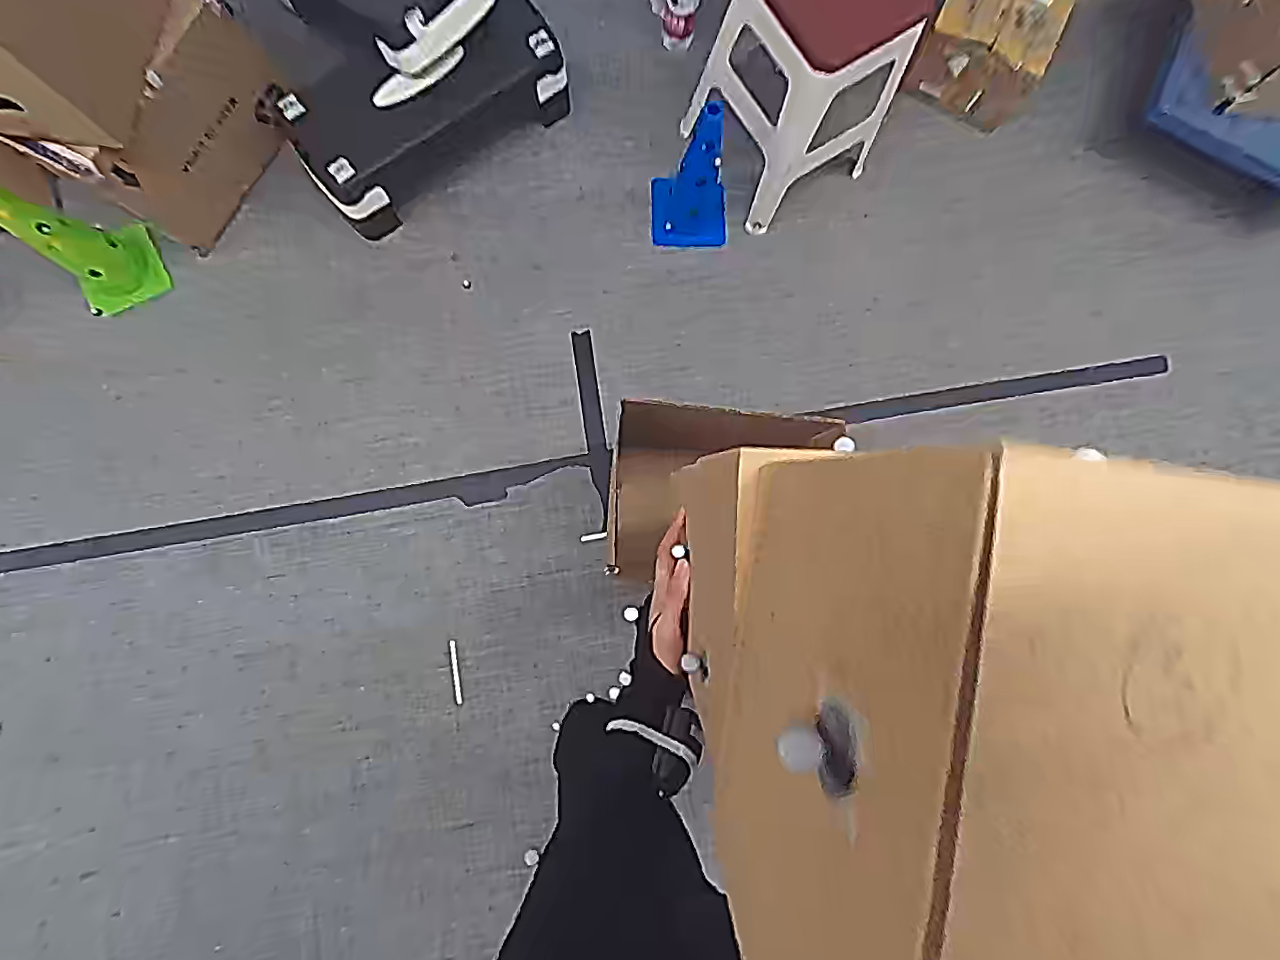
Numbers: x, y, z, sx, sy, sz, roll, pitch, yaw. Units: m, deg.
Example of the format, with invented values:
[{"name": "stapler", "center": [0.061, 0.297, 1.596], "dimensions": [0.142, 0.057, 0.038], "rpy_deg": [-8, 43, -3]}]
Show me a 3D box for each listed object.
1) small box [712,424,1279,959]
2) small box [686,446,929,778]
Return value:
[{"name": "small box", "center": [0.125, 0.086, 0.182], "dimensions": [0.168, 0.176, 0.179], "rpy_deg": [8, 90, -1]}, {"name": "small box", "center": [0.121, 0.072, 0.346], "dimensions": [0.168, 0.176, 0.179], "rpy_deg": [2, 90, -1]}]
